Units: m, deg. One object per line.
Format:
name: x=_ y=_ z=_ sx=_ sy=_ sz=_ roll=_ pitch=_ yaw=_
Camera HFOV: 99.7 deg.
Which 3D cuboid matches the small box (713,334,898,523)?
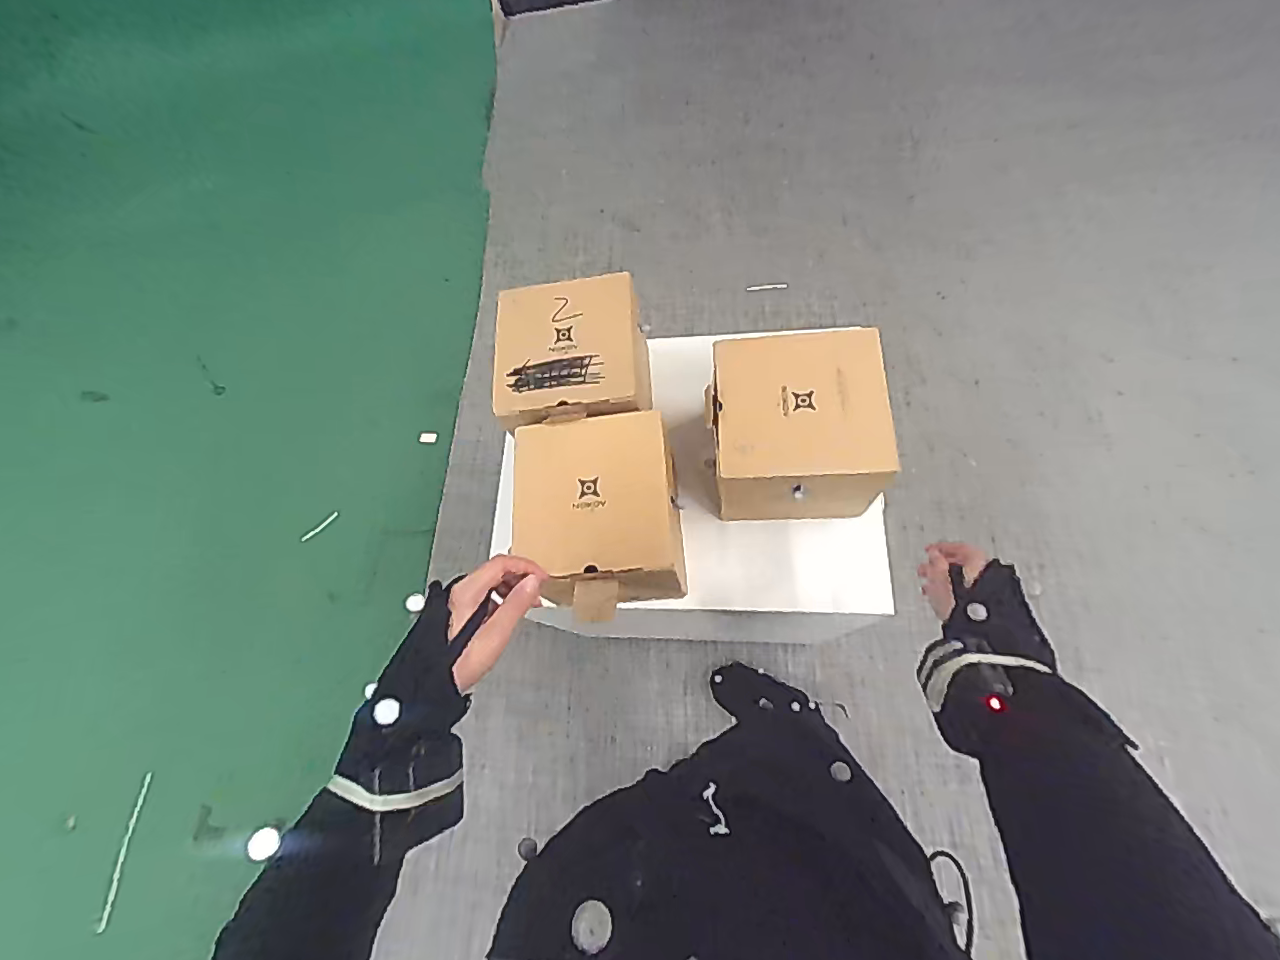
small box: x=0.179 y=-0.048 z=0.634 sx=0.179 sy=0.176 sz=0.168 roll=-2 pitch=71 yaw=9
